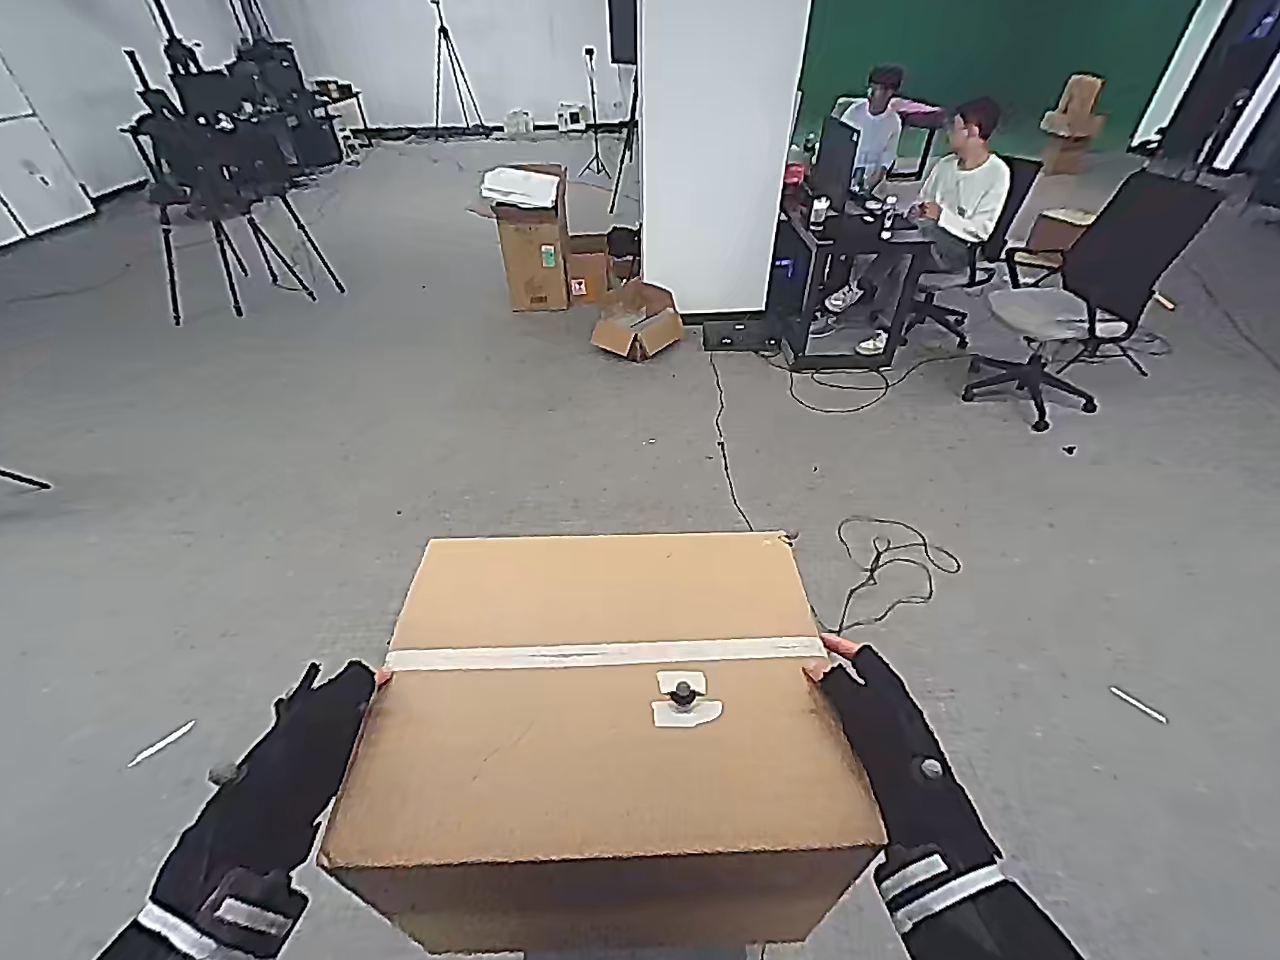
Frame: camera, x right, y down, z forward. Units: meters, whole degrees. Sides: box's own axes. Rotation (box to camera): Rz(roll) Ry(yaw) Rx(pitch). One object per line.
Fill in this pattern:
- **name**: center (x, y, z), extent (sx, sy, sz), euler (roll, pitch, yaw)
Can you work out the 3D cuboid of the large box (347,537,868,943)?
- **large box**: center (-0.030, 0.283, 0.612), extent (0.408, 0.320, 0.320), euler (-1, 40, -2)
